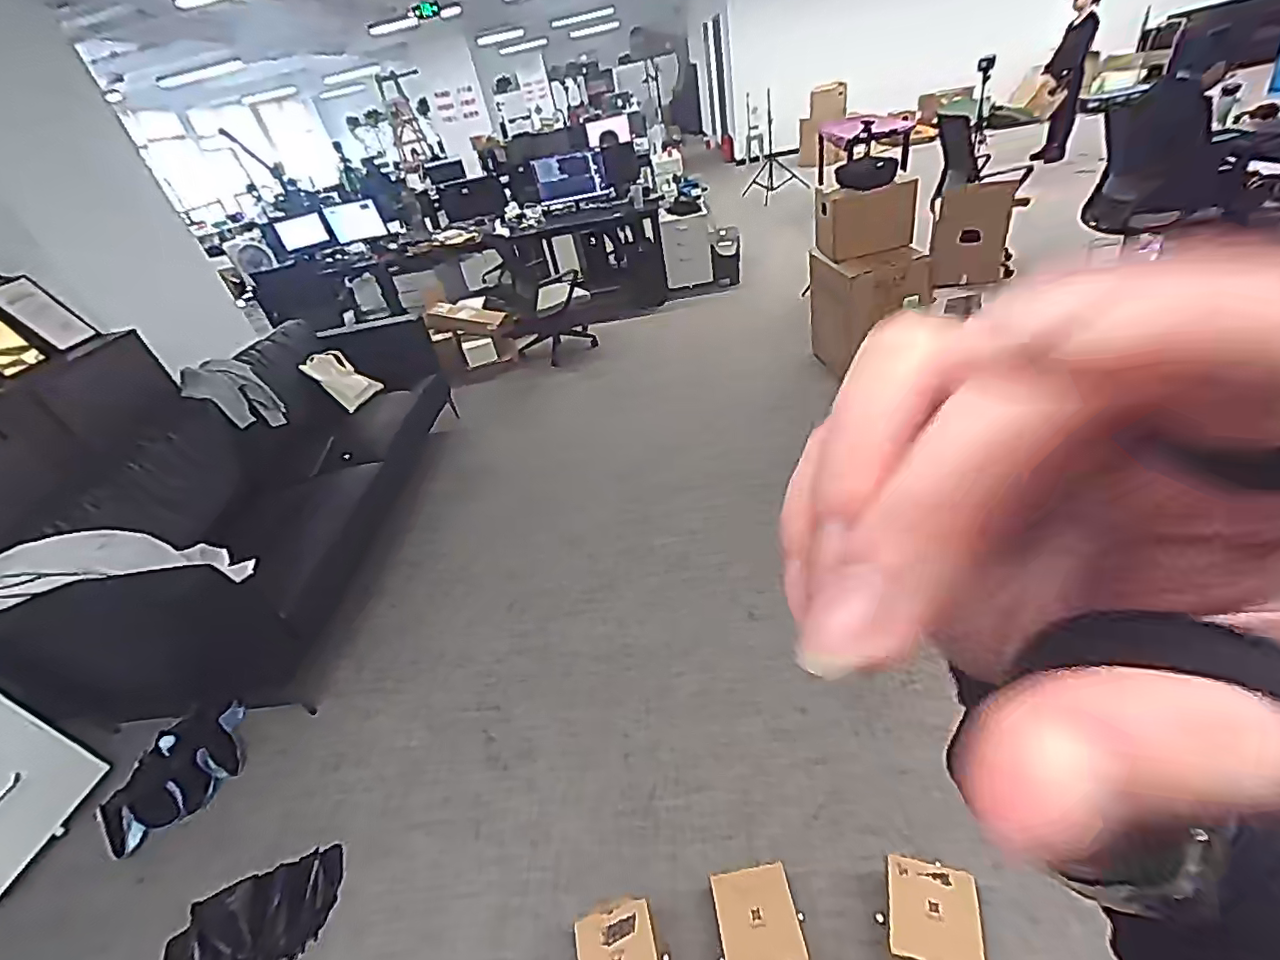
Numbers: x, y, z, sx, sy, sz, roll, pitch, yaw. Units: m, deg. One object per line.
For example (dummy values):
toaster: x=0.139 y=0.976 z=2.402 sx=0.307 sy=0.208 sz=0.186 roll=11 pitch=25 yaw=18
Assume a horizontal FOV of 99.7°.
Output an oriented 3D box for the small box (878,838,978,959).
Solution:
small box: x=0.602 y=0.906 z=1.145 sx=0.168 sy=0.176 sz=0.179 roll=3 pitch=41 yaw=22

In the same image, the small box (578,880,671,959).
small box: x=-0.029 y=1.027 z=1.186 sx=0.168 sy=0.176 sz=0.179 roll=-16 pitch=38 yaw=-3

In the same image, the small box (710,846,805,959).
small box: x=0.259 y=0.953 z=1.197 sx=0.168 sy=0.176 sz=0.179 roll=-12 pitch=36 yaw=0
